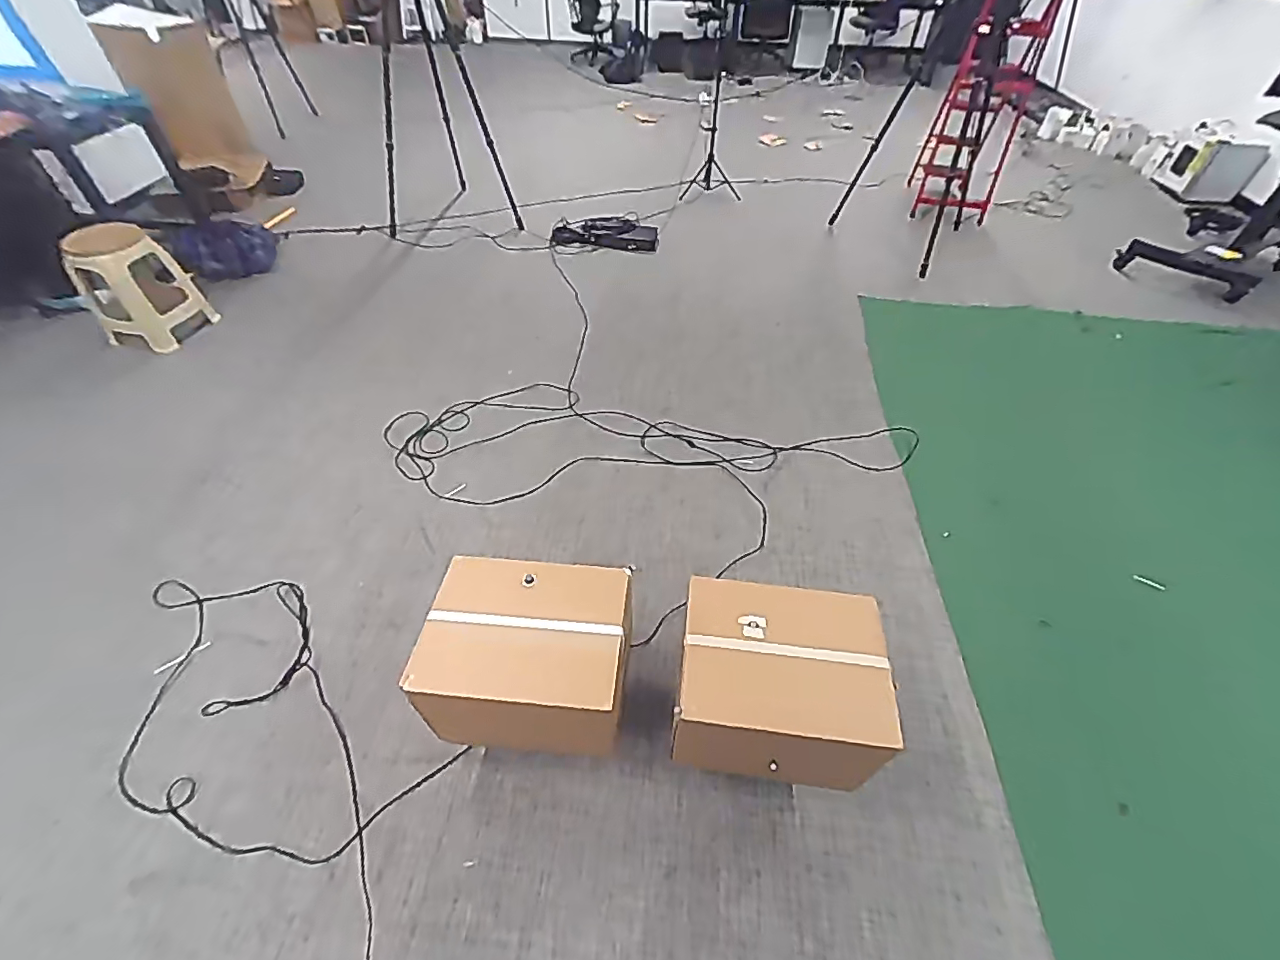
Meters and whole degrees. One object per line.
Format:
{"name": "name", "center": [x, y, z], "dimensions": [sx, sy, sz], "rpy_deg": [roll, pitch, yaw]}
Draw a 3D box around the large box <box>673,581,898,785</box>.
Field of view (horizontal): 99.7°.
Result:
{"name": "large box", "center": [0.292, 0.454, 1.203], "dimensions": [0.408, 0.320, 0.320], "rpy_deg": [6, 47, 5]}
